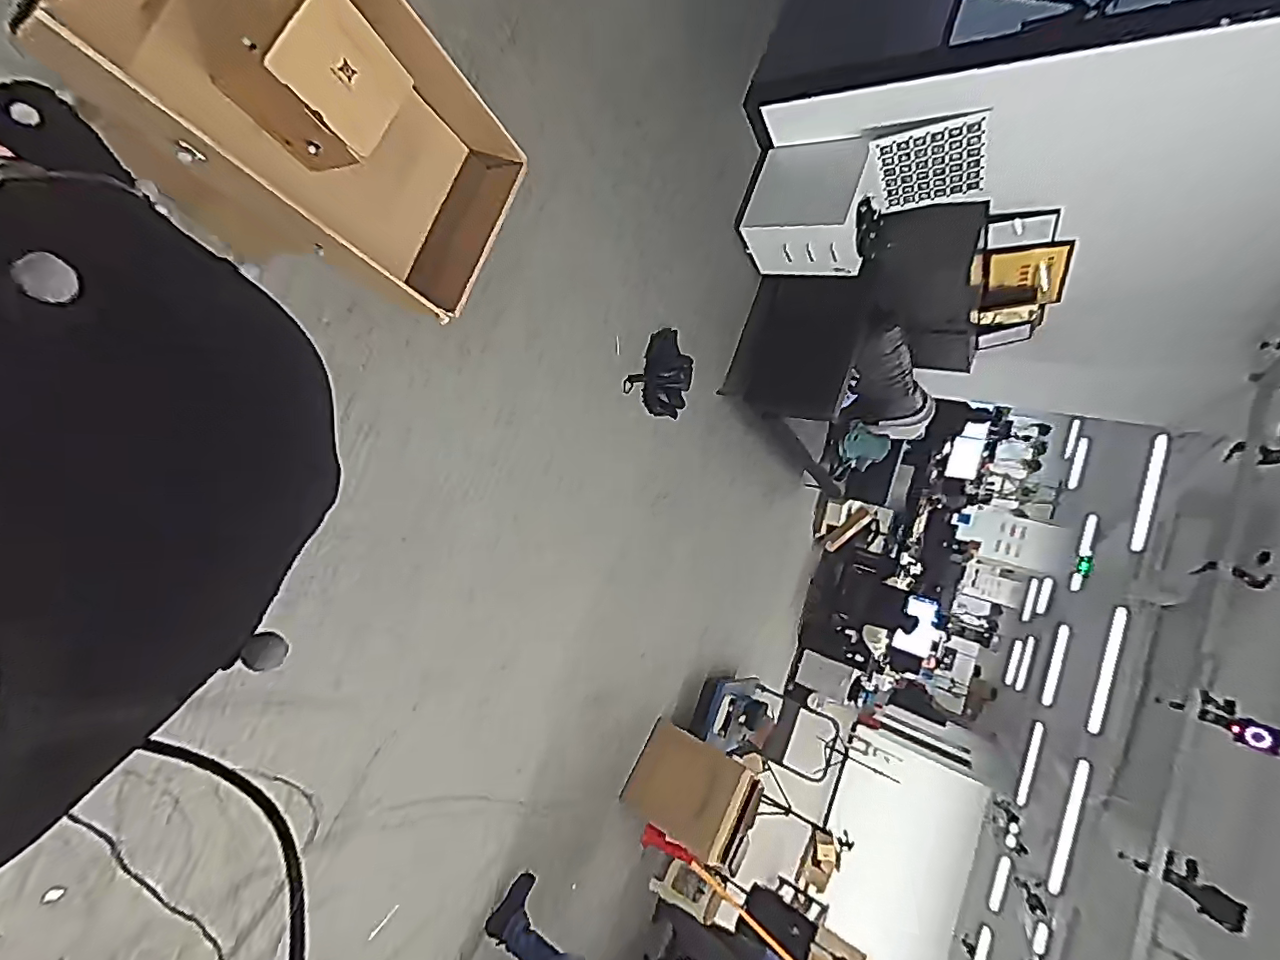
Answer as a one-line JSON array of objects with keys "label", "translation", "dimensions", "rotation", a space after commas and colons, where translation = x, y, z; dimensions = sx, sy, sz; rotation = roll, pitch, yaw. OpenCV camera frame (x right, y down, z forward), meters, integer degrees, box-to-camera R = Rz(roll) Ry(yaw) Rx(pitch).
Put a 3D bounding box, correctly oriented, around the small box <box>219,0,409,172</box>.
[{"label": "small box", "translation": [-0.511, -0.616, 0.846], "dimensions": [0.168, 0.176, 0.179], "rotation": [39, 67, -57]}]
